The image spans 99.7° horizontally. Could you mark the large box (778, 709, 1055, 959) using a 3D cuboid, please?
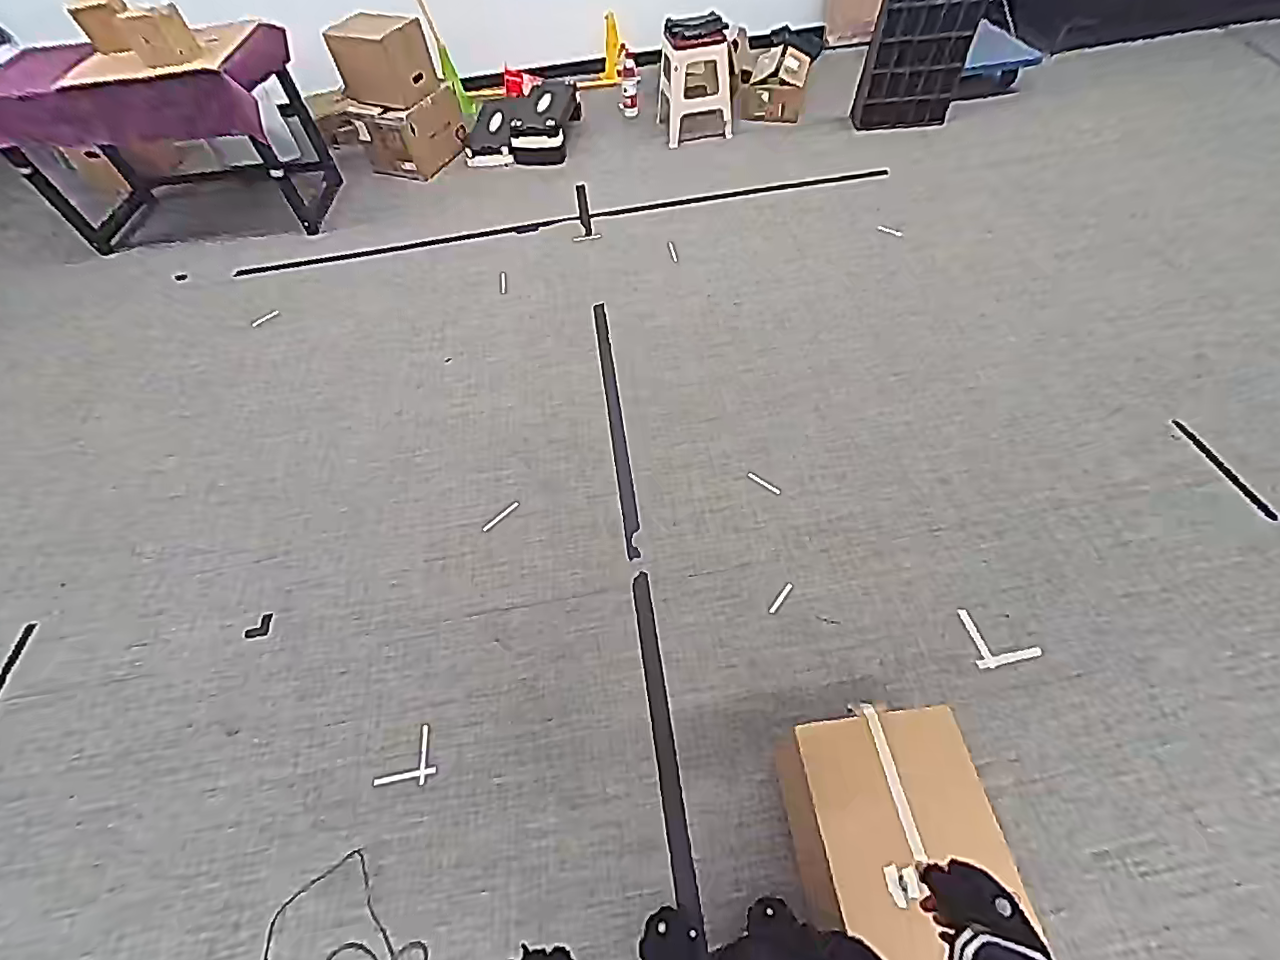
[{"bbox_3d":[0.499,0.721,1.089,0.320,0.320,0.408,-7,55,0],"label":"large box"}]
